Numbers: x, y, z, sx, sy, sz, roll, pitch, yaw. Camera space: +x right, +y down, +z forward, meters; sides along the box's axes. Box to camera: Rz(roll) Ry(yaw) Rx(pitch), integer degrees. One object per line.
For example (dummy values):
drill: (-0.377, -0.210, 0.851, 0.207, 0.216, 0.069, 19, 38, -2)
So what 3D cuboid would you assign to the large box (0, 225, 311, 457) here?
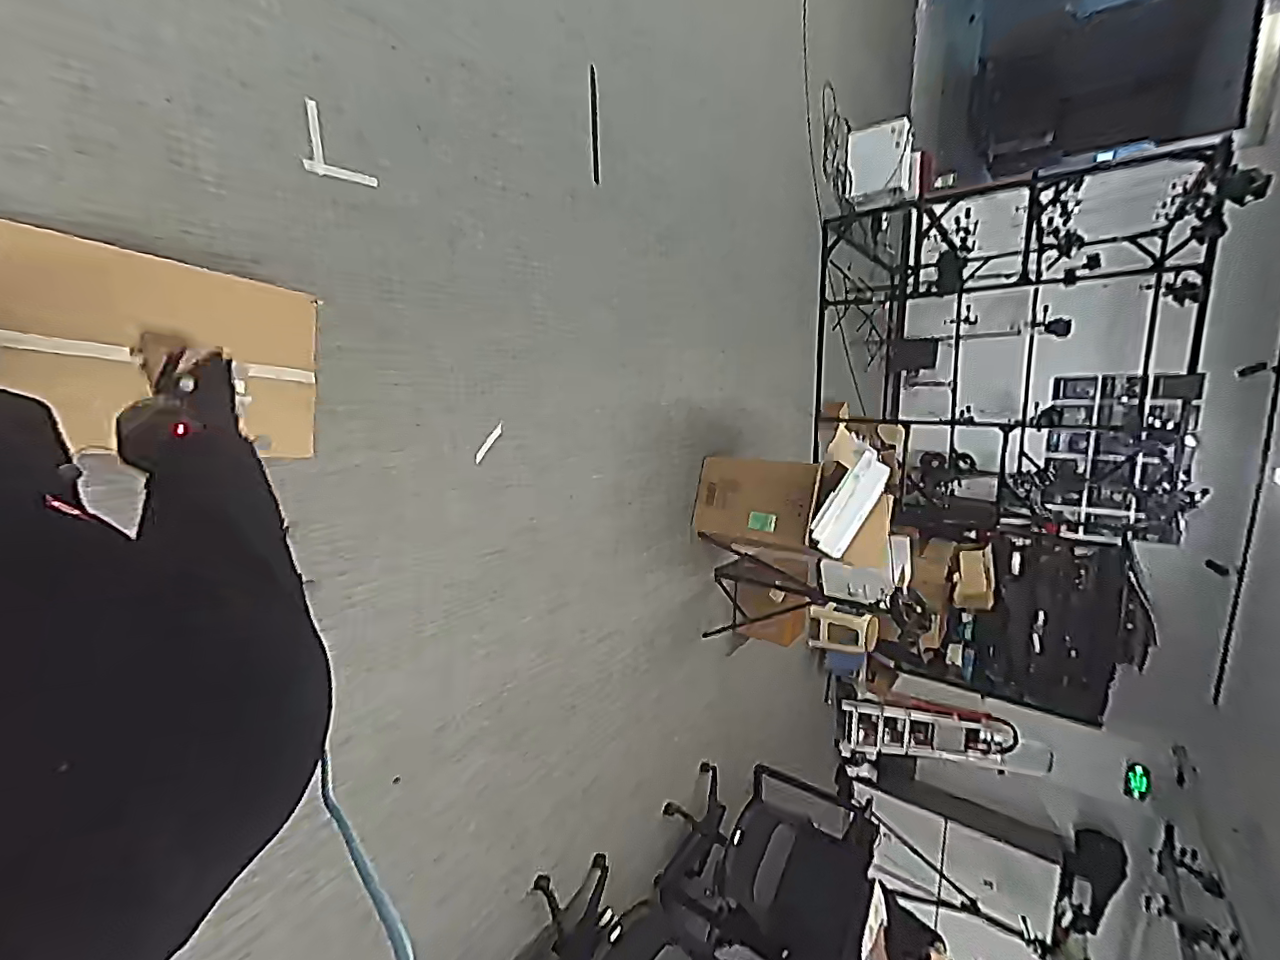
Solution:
large box: (-0.871, -0.205, 0.962, 0.408, 0.320, 0.320, -3, 98, -55)
